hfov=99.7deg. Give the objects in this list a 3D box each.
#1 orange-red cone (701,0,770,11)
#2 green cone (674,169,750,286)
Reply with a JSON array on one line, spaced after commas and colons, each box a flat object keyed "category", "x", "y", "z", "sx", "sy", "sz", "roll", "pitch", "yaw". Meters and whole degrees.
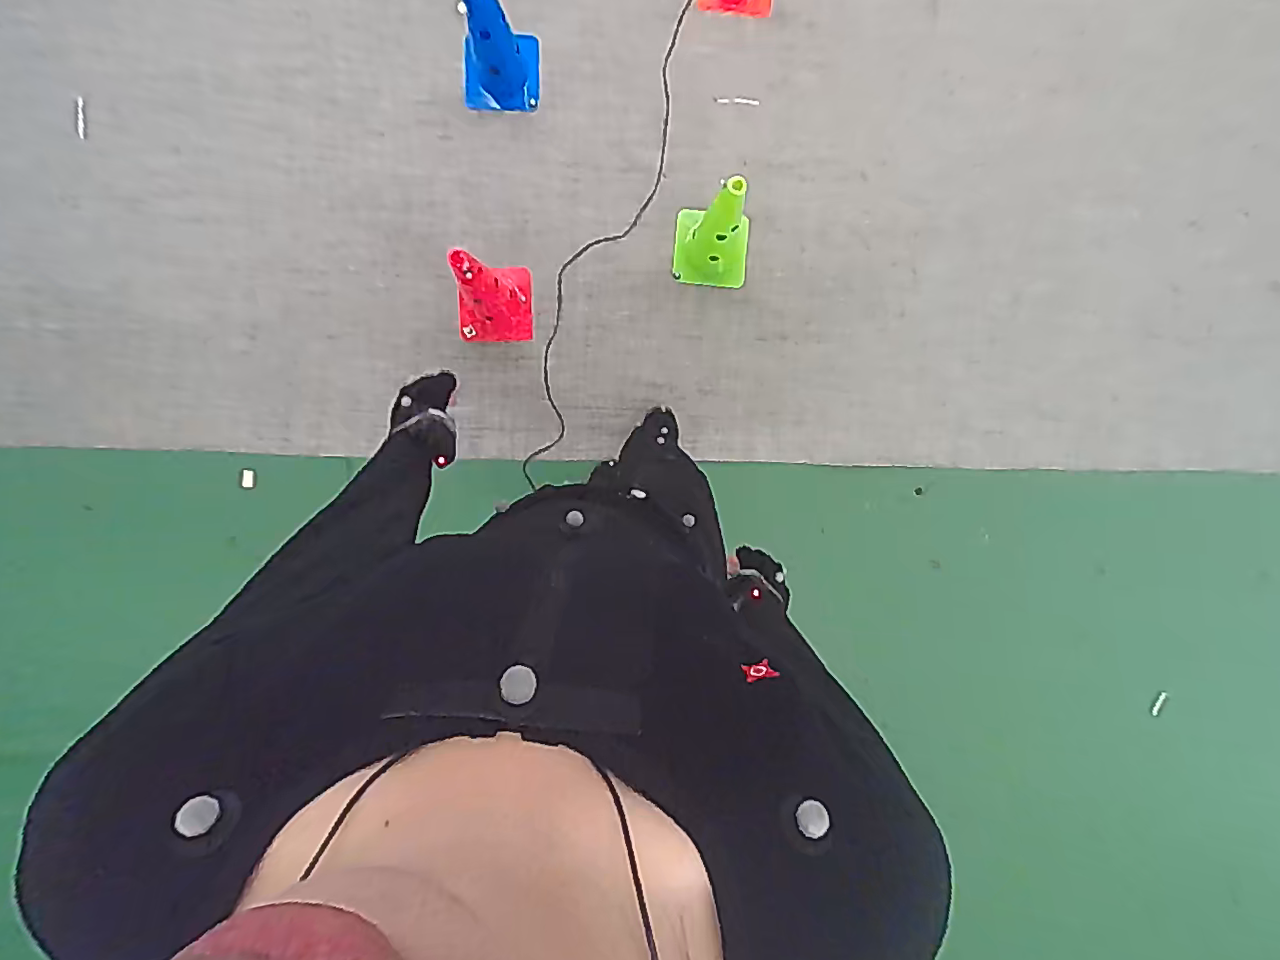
[{"category": "orange-red cone", "x": 0.264, "y": -1.363, "z": 1.287, "sx": 0.198, "sy": 0.360, "sz": 0.199, "roll": 6, "pitch": 94, "yaw": -1}, {"category": "green cone", "x": 0.204, "y": -0.634, "z": 1.313, "sx": 0.200, "sy": 0.368, "sz": 0.202, "roll": 4, "pitch": 91, "yaw": -2}]
